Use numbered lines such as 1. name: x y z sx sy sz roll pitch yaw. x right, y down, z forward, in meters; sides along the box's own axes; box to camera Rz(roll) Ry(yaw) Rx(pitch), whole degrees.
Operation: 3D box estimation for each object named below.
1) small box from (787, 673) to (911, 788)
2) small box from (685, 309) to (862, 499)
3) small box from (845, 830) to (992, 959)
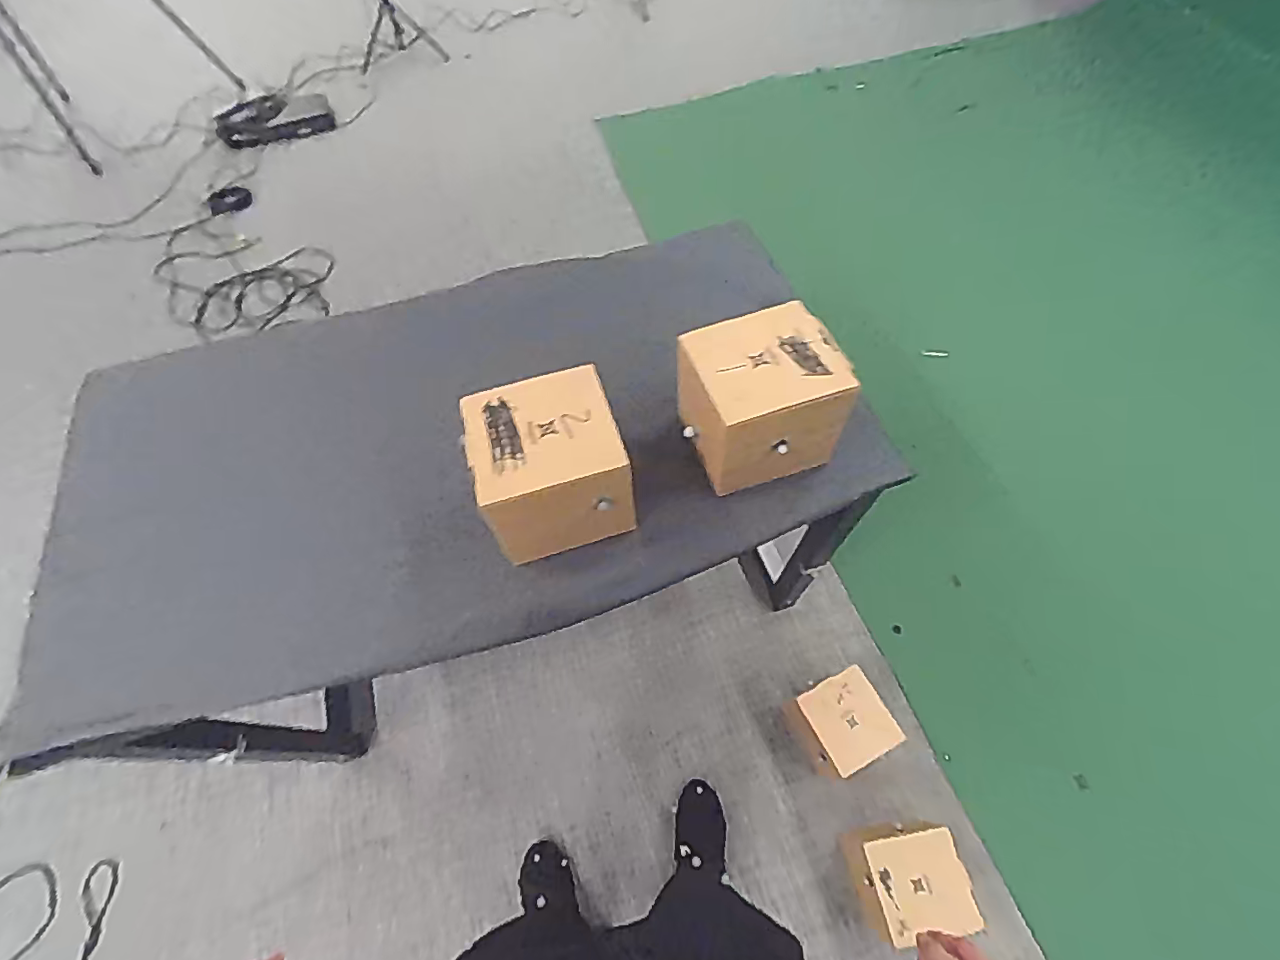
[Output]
1. small box: 0.456 0.558 1.208 0.168 0.176 0.179 -24 63 -11
2. small box: 0.167 -0.098 0.744 0.179 0.176 0.168 -17 58 -5
3. small box: 0.536 0.807 1.068 0.179 0.176 0.168 -9 62 -2
